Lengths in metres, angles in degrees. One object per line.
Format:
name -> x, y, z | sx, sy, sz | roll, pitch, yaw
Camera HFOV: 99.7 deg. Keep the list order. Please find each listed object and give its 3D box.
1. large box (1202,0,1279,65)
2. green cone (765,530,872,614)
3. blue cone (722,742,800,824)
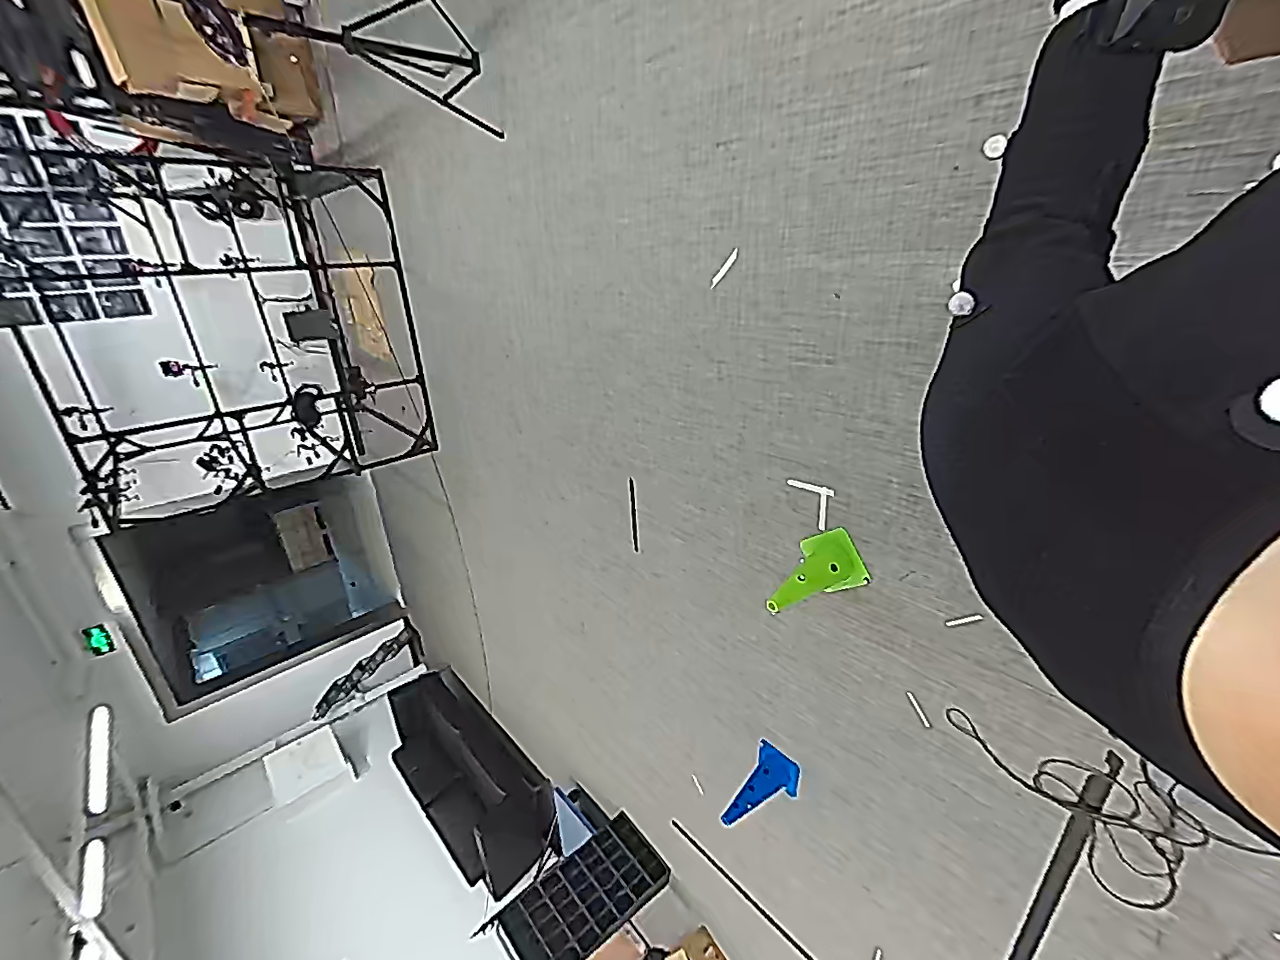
large box -> 0.562, -0.444, 0.229 | 0.408, 0.320, 0.320 | 18, 122, 44
green cone -> 0.527, 0.324, 1.712 | 0.202, 0.368, 0.200 | -36, 78, 54
blue cone -> 0.490, 1.310, 2.267 | 0.192, 0.380, 0.193 | 26, 126, 43
